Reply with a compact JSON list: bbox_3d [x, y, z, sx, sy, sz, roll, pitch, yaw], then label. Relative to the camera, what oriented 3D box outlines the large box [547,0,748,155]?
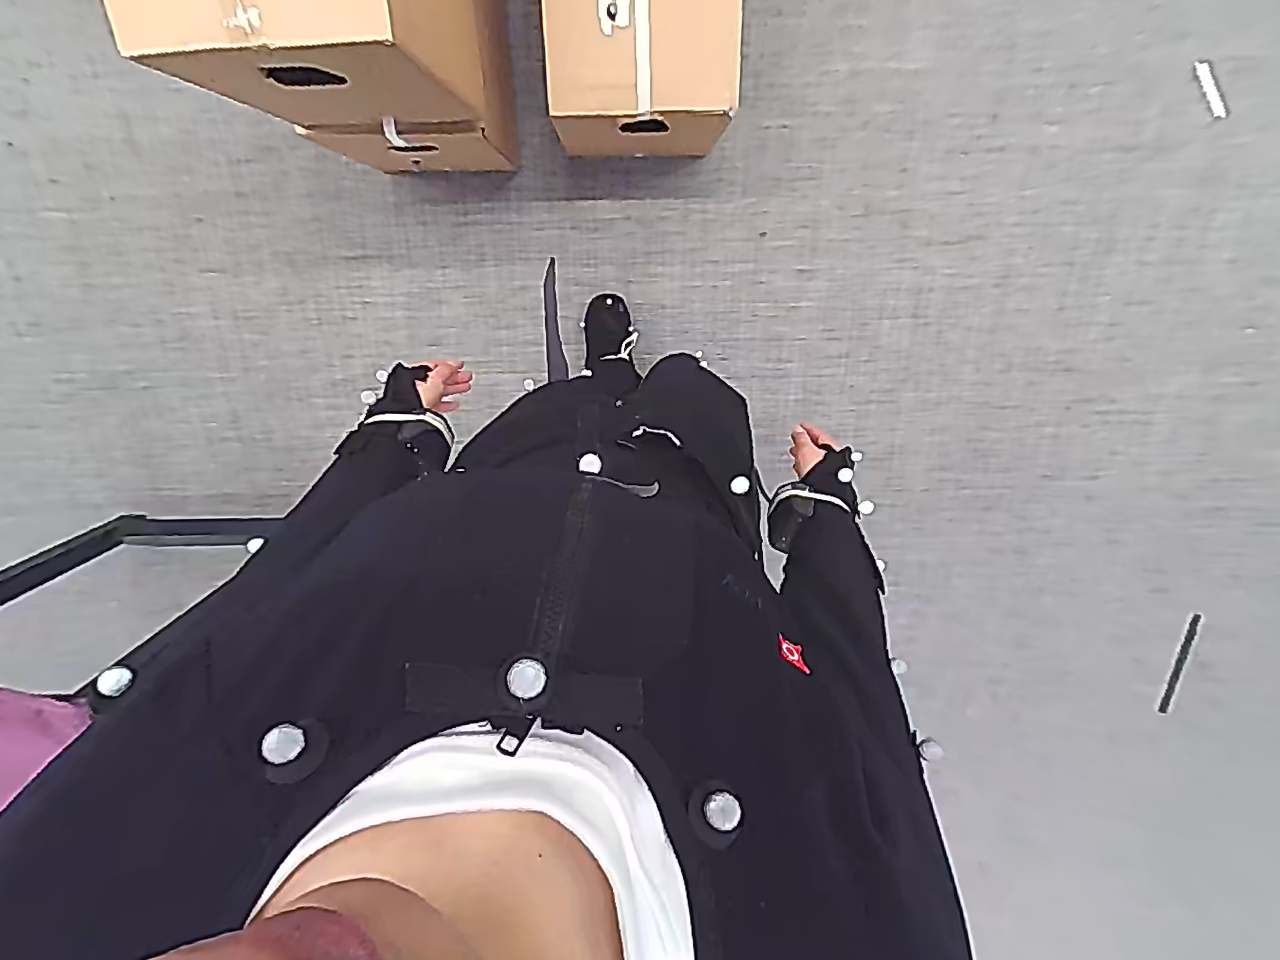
[{"bbox_3d":[0.006,-0.835,0.951,0.320,0.320,0.408,-2,111,0],"label":"large box"}]
